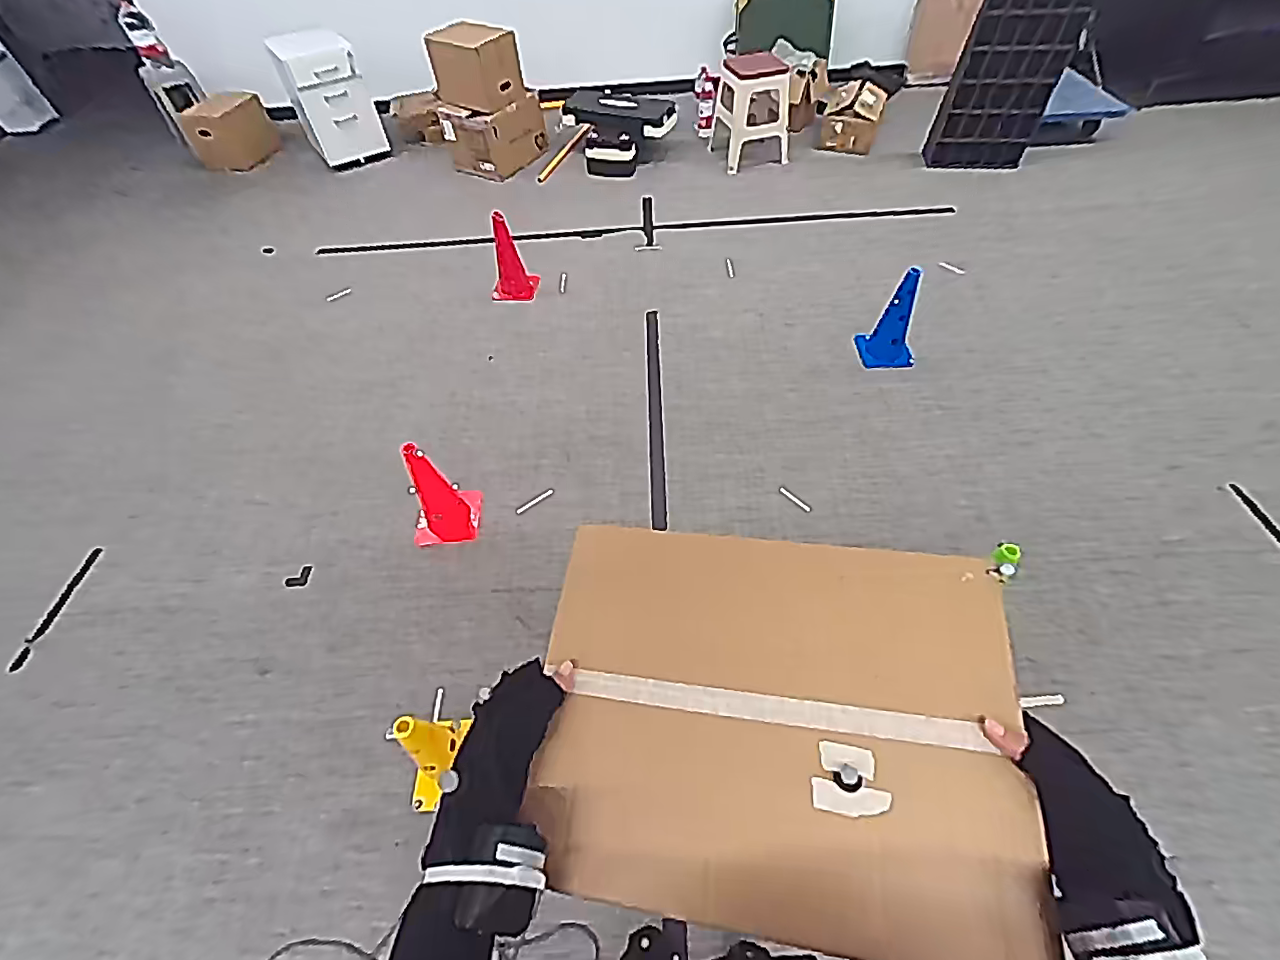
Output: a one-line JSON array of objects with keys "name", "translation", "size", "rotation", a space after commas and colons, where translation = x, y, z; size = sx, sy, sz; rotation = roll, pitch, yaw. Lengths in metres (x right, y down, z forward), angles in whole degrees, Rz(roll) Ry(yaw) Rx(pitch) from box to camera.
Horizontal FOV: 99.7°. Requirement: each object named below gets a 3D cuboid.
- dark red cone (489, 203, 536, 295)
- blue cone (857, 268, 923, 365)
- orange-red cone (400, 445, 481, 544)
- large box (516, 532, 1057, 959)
[{"name": "dark red cone", "translation": [-0.603, -1.029, 2.411], "size": [0.201, 0.394, 0.202], "rotation": [2, 53, 4]}, {"name": "blue cone", "translation": [0.978, -0.627, 2.055], "size": [0.192, 0.380, 0.193], "rotation": [0, 53, 2]}, {"name": "orange-red cone", "translation": [-0.638, 0.021, 1.645], "size": [0.198, 0.360, 0.199], "rotation": [-6, 54, 1]}, {"name": "large box", "translation": [0.130, 0.273, 0.601], "size": [0.408, 0.320, 0.320], "rotation": [4, 61, 11]}]
